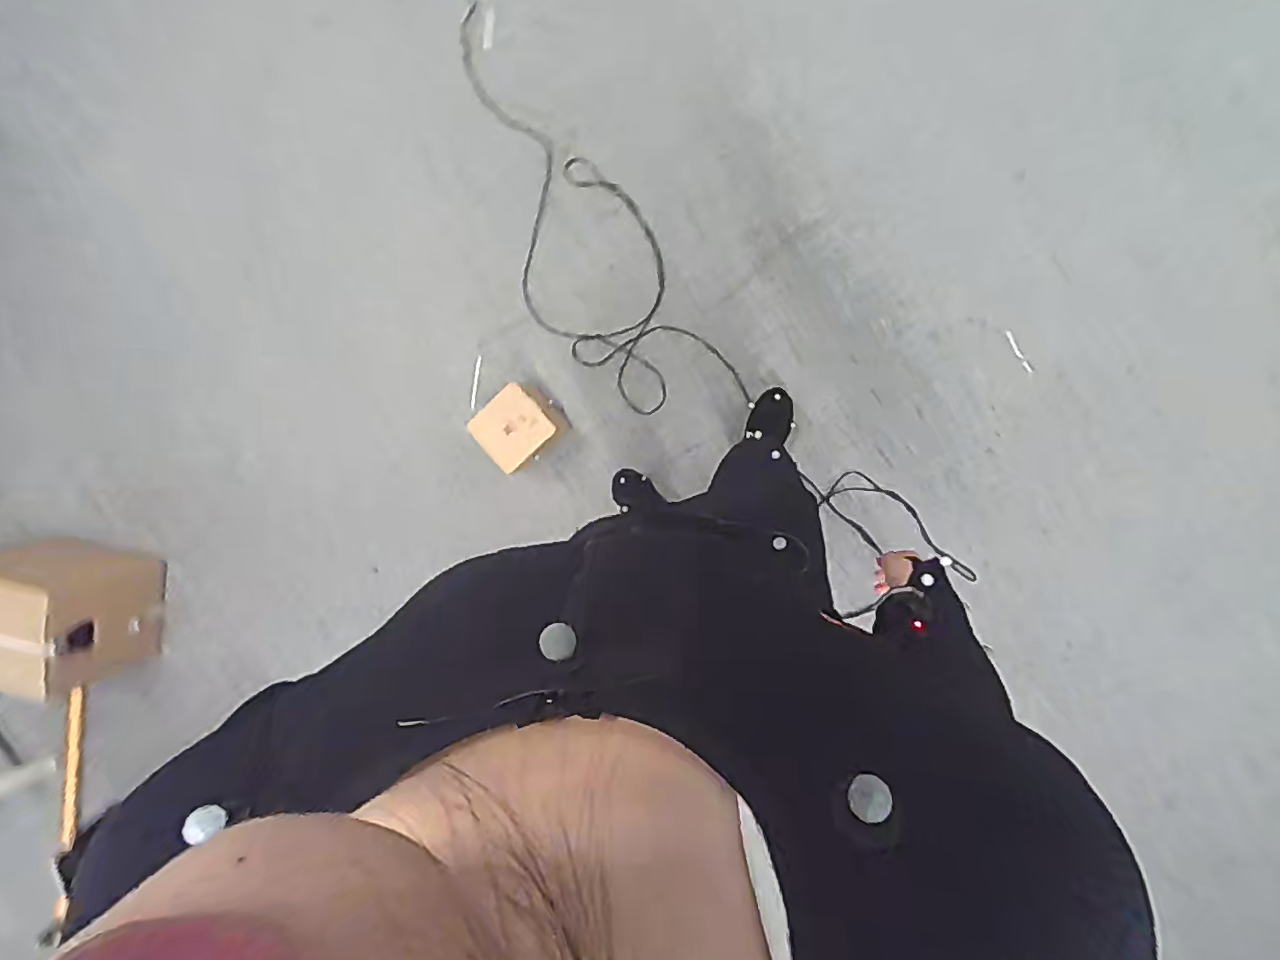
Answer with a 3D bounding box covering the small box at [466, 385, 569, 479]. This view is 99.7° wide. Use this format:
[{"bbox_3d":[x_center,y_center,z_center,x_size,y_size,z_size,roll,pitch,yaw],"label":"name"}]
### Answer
[{"bbox_3d":[-0.311,-0.126,1.414,0.179,0.176,0.168,-42,91,10],"label":"small box"}]
